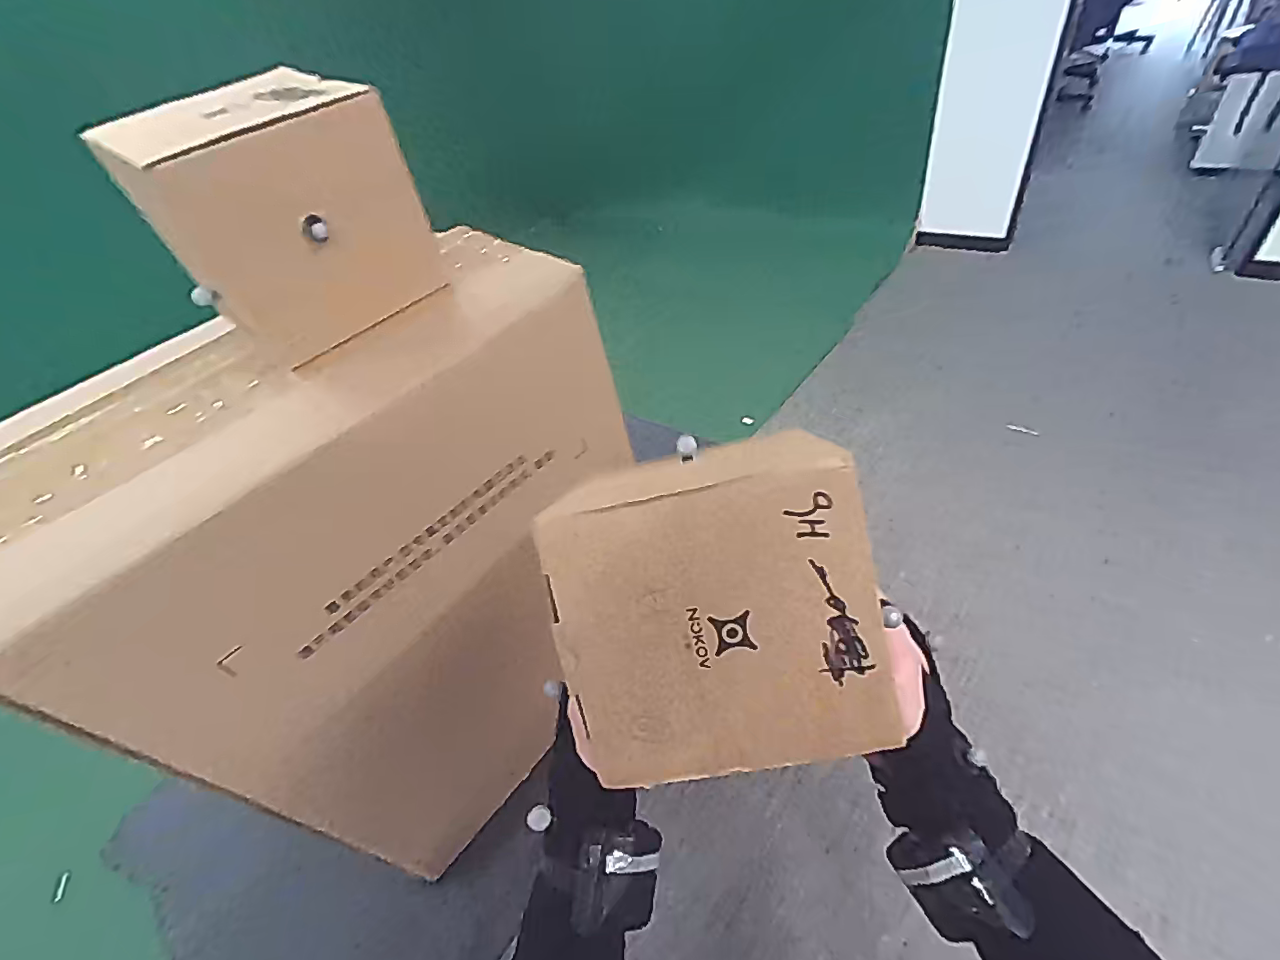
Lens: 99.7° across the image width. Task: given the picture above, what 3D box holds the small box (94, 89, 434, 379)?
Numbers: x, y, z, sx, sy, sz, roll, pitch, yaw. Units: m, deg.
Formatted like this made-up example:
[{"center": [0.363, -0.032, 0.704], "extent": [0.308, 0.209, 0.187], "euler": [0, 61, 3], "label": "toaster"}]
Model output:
[{"center": [-0.315, -0.225, 0.492], "extent": [0.168, 0.176, 0.179], "euler": [31, 60, 30], "label": "small box"}]
